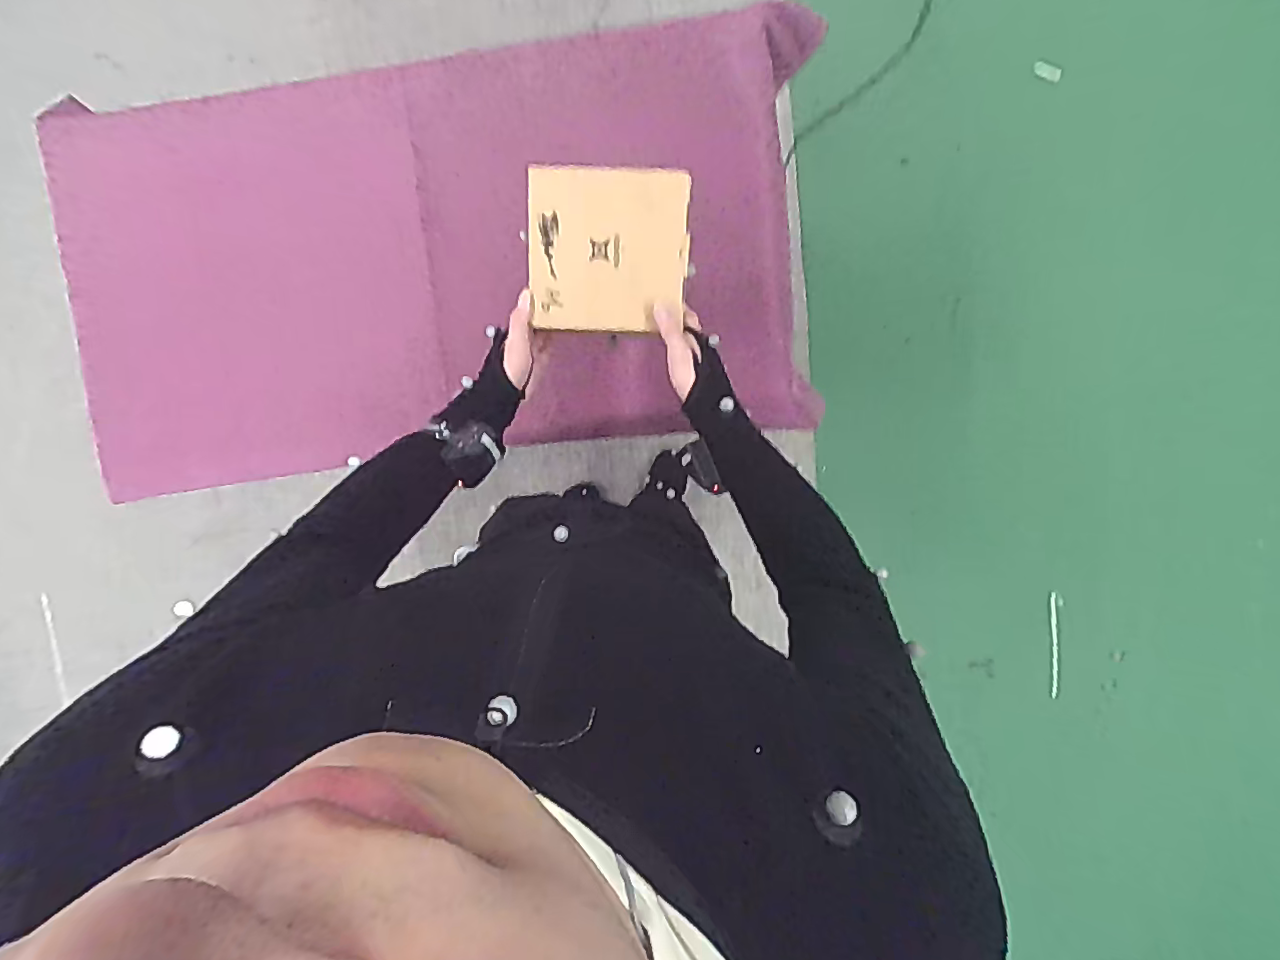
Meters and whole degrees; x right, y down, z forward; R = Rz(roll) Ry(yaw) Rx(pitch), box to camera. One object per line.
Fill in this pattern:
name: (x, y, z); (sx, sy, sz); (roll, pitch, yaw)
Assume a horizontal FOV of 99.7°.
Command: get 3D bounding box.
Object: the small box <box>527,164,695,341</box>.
small box: (-0.034, -0.260, 0.658); (0.179, 0.176, 0.168); (3, 101, -1)
